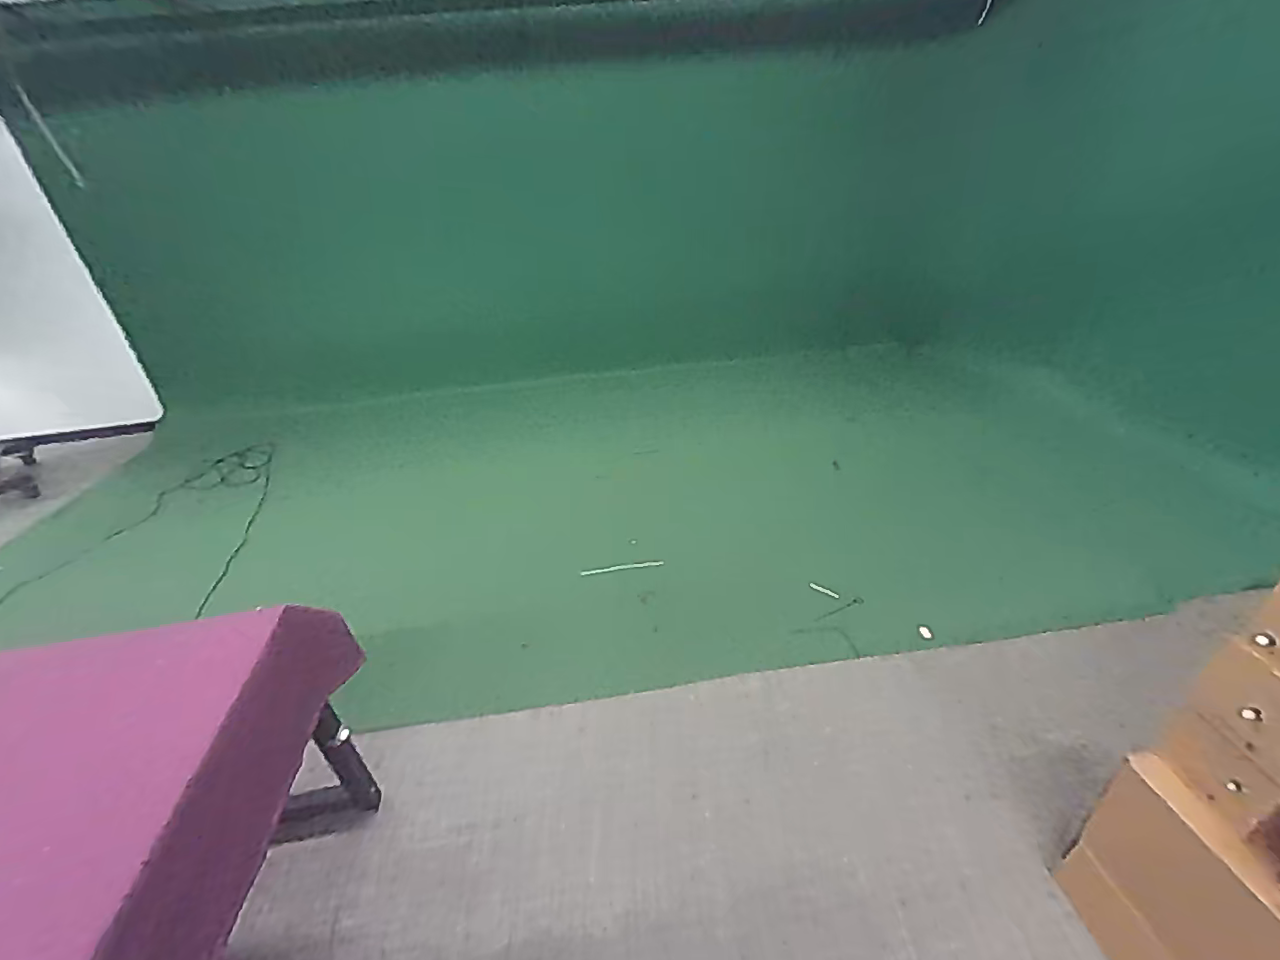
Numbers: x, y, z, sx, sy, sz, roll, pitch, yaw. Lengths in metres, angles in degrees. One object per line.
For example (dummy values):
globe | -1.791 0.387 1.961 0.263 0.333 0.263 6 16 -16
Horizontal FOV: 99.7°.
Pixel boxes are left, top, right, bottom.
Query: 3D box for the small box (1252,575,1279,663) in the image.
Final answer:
small box | 1.057 0.217 0.774 0.179 0.176 0.168 -7 32 -4

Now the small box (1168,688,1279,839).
small box | 1.091 0.495 0.946 0.179 0.176 0.168 -7 32 -2
